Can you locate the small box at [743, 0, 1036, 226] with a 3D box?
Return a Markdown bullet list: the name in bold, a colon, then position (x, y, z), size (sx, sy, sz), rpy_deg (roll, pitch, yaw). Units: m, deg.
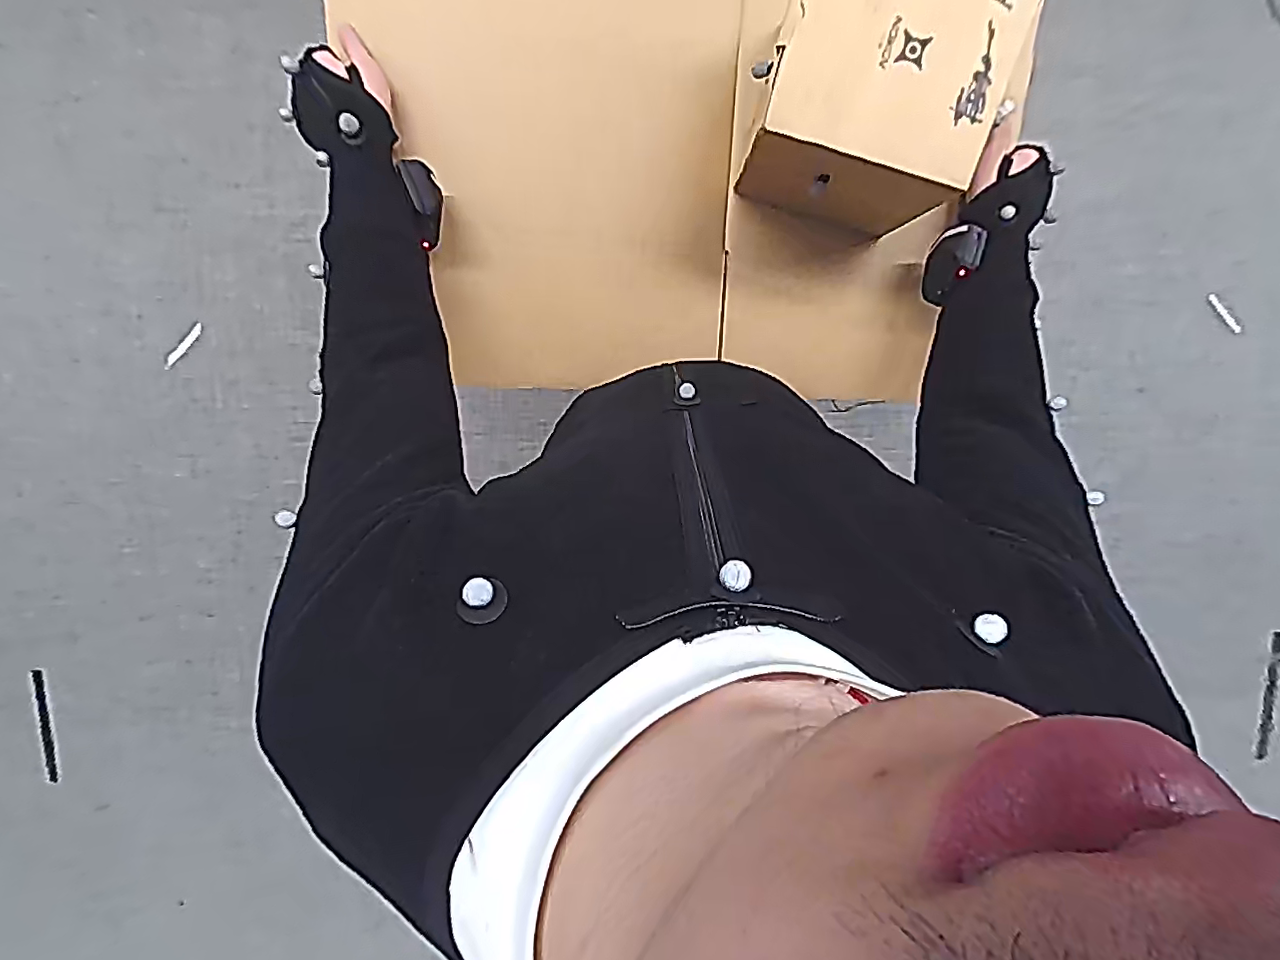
- **small box**: position (0.206, -0.354, 0.496), size (0.179, 0.176, 0.168), rpy_deg (17, 103, -1)
